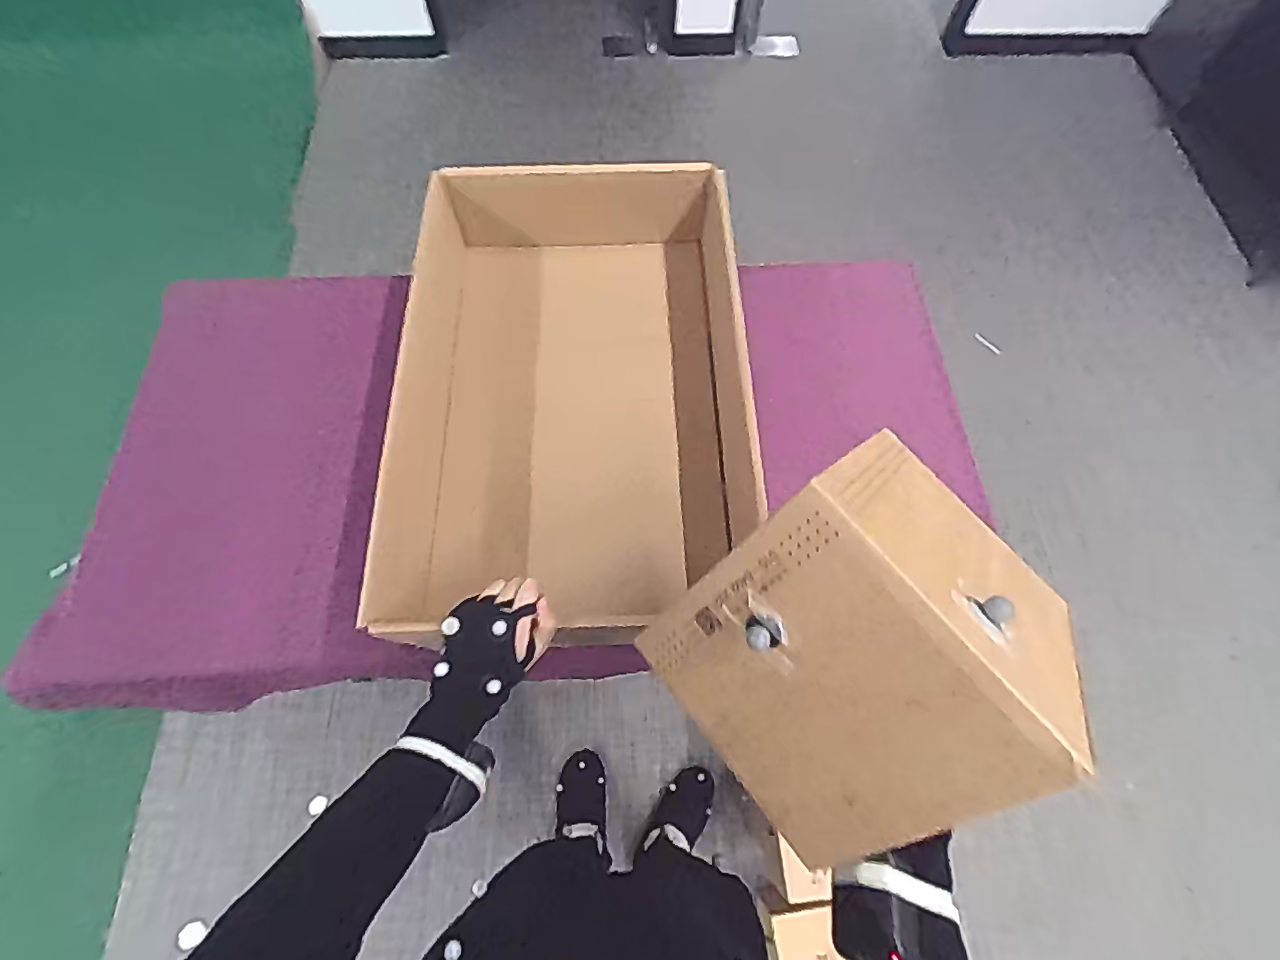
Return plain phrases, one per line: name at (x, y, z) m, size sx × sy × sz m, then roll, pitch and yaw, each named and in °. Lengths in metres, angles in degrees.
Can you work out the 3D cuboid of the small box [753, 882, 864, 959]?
small box at (0.335, 0.940, 1.088) m, size 0.179 × 0.176 × 0.168 m, roll -6°, pitch 67°, yaw -4°
